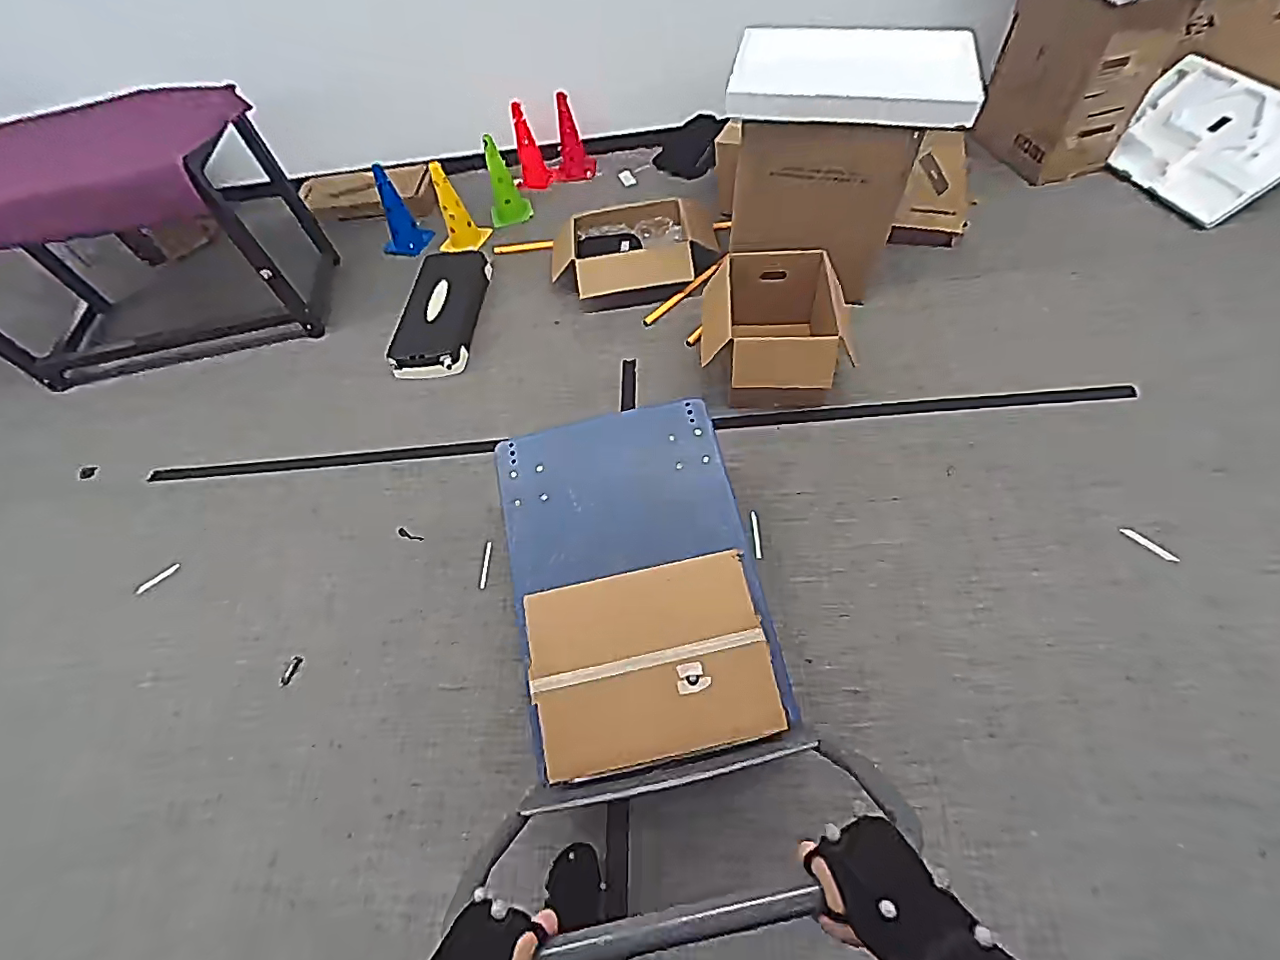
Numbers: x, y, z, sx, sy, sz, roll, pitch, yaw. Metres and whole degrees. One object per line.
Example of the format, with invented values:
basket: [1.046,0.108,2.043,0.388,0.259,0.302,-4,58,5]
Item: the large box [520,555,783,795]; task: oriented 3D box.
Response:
large box: [0.015,0.375,1.063,0.408,0.320,0.320,-13,70,-2]
